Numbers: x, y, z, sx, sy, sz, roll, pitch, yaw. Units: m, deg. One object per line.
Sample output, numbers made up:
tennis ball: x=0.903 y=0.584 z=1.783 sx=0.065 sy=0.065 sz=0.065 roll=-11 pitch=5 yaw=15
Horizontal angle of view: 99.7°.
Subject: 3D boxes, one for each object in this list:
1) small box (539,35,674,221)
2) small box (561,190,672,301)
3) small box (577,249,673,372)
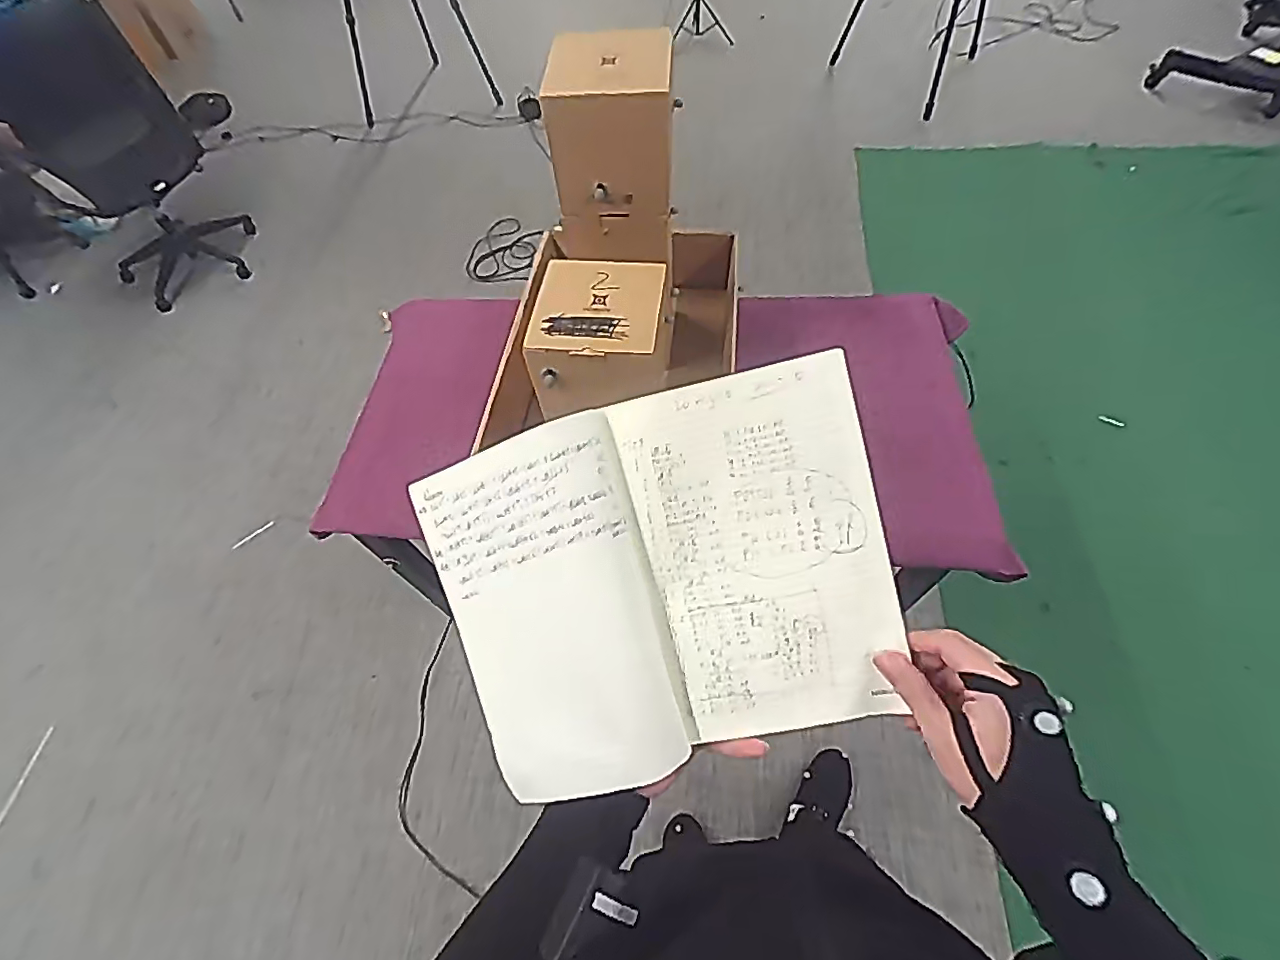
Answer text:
small box: x=-0.037 y=-0.506 z=0.785 sx=0.168 sy=0.176 sz=0.179 roll=1 pitch=61 yaw=5
small box: x=-0.030 y=-0.425 z=0.925 sx=0.168 sy=0.176 sz=0.179 roll=1 pitch=59 yaw=4
small box: x=-0.021 y=-0.335 z=1.063 sx=0.168 sy=0.176 sz=0.179 roll=2 pitch=61 yaw=5
